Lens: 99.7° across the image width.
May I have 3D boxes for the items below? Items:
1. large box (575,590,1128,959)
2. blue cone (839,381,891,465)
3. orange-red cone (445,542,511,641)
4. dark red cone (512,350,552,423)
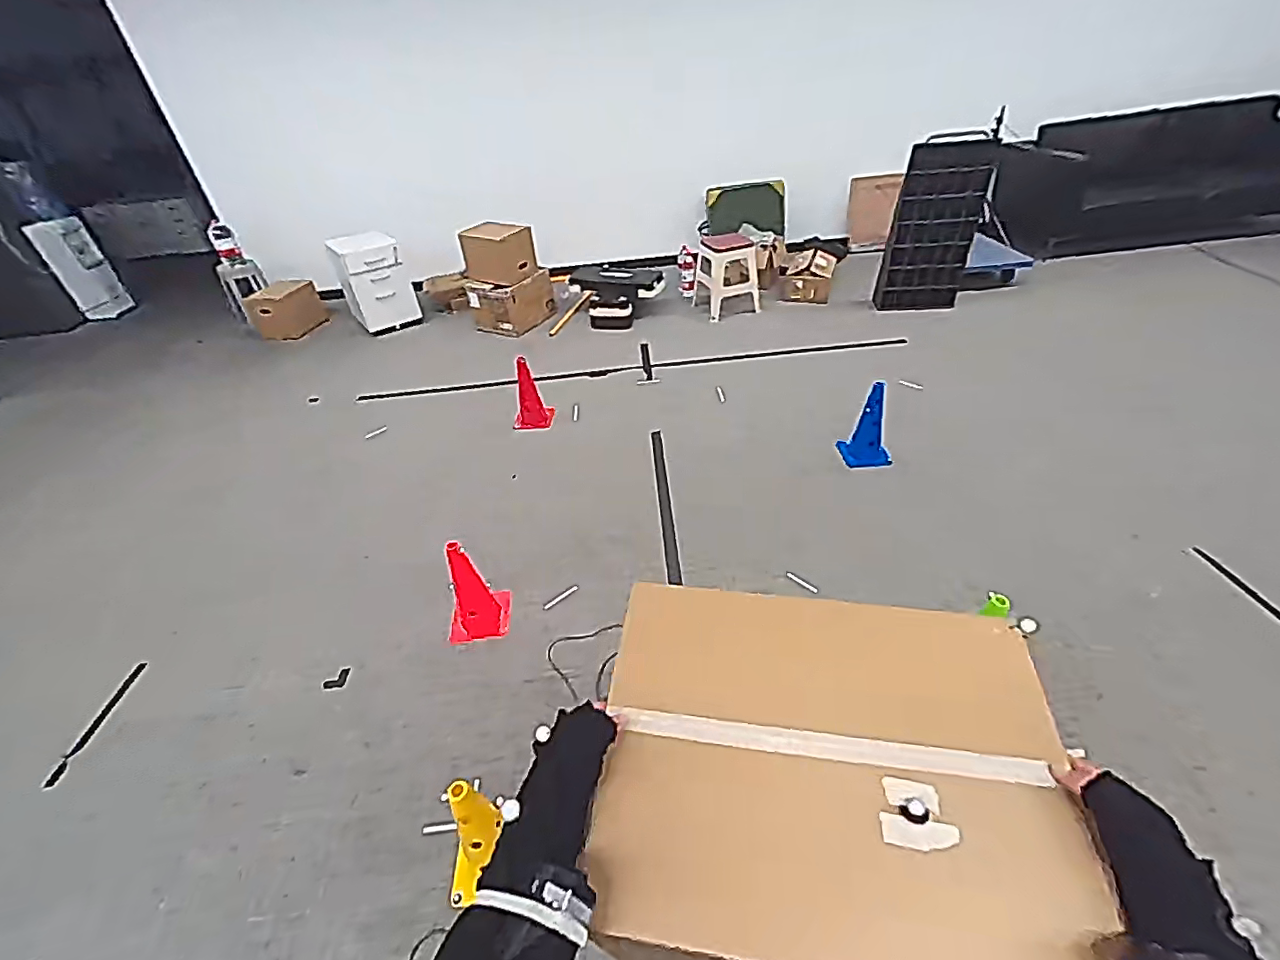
[{"bbox_3d":[0.172,0.349,0.597,0.408,0.320,0.320,3,45,9],"label":"large box"},{"bbox_3d":[1.013,-0.258,2.368,0.192,0.380,0.193,-3,39,2],"label":"blue cone"},{"bbox_3d":[-0.571,0.343,1.791,0.198,0.360,0.199,-8,40,-1],"label":"orange-red cone"},{"bbox_3d":[-0.586,-0.484,2.795,0.201,0.394,0.202,-1,39,4],"label":"dark red cone"}]
